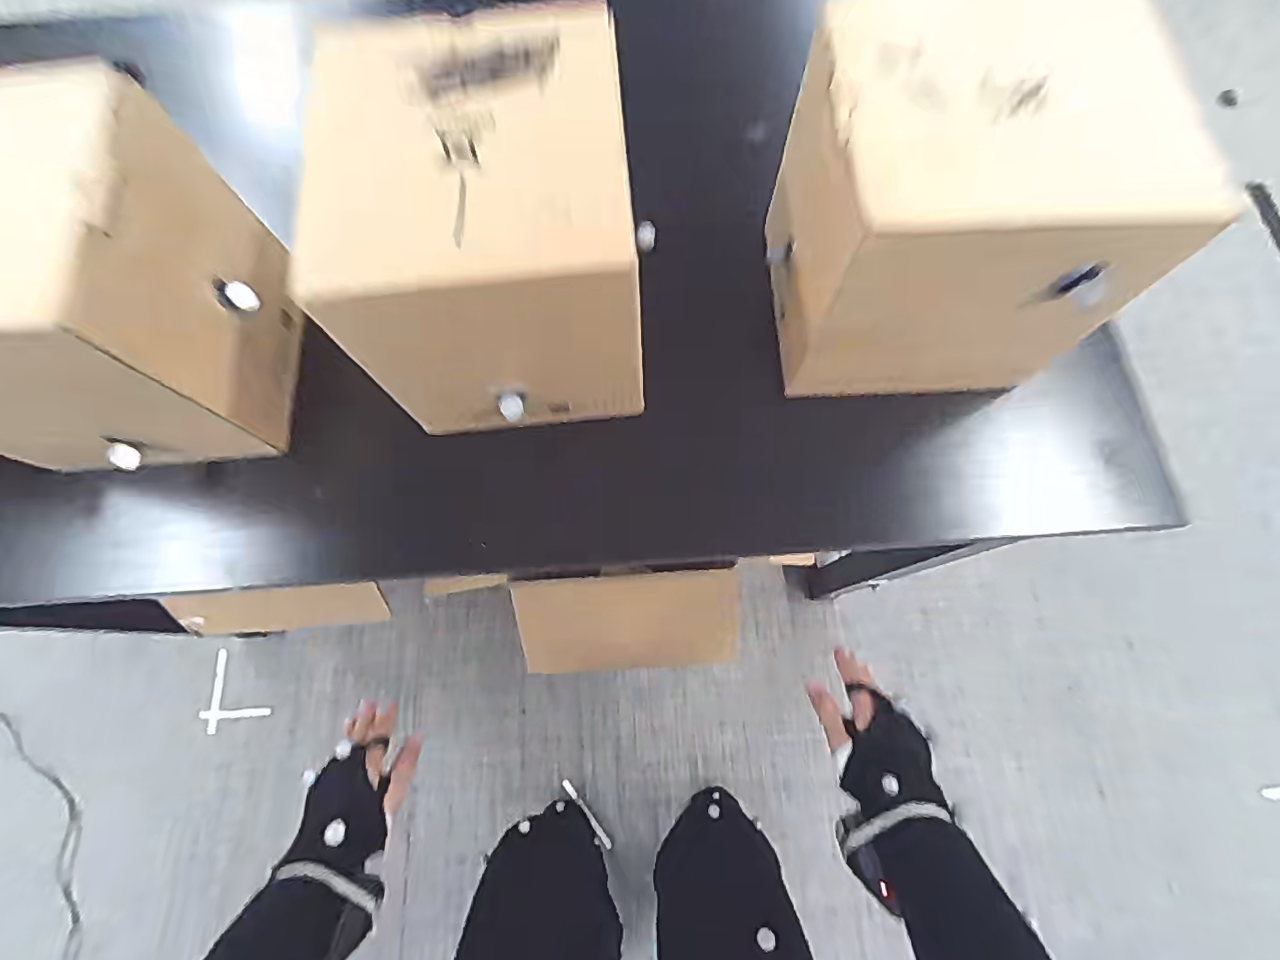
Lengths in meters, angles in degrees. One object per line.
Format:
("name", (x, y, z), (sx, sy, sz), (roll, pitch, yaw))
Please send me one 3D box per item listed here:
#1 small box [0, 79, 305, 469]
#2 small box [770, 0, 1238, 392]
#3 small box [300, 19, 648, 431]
("small box", (-0.354, -0.114, 0.351), (0.179, 0.176, 0.168), (-5, 72, -1))
("small box", (0.195, -0.169, 0.355), (0.179, 0.176, 0.168), (-2, 71, 1))
("small box", (-0.084, -0.149, 0.356), (0.168, 0.176, 0.179), (-6, 72, 0))
